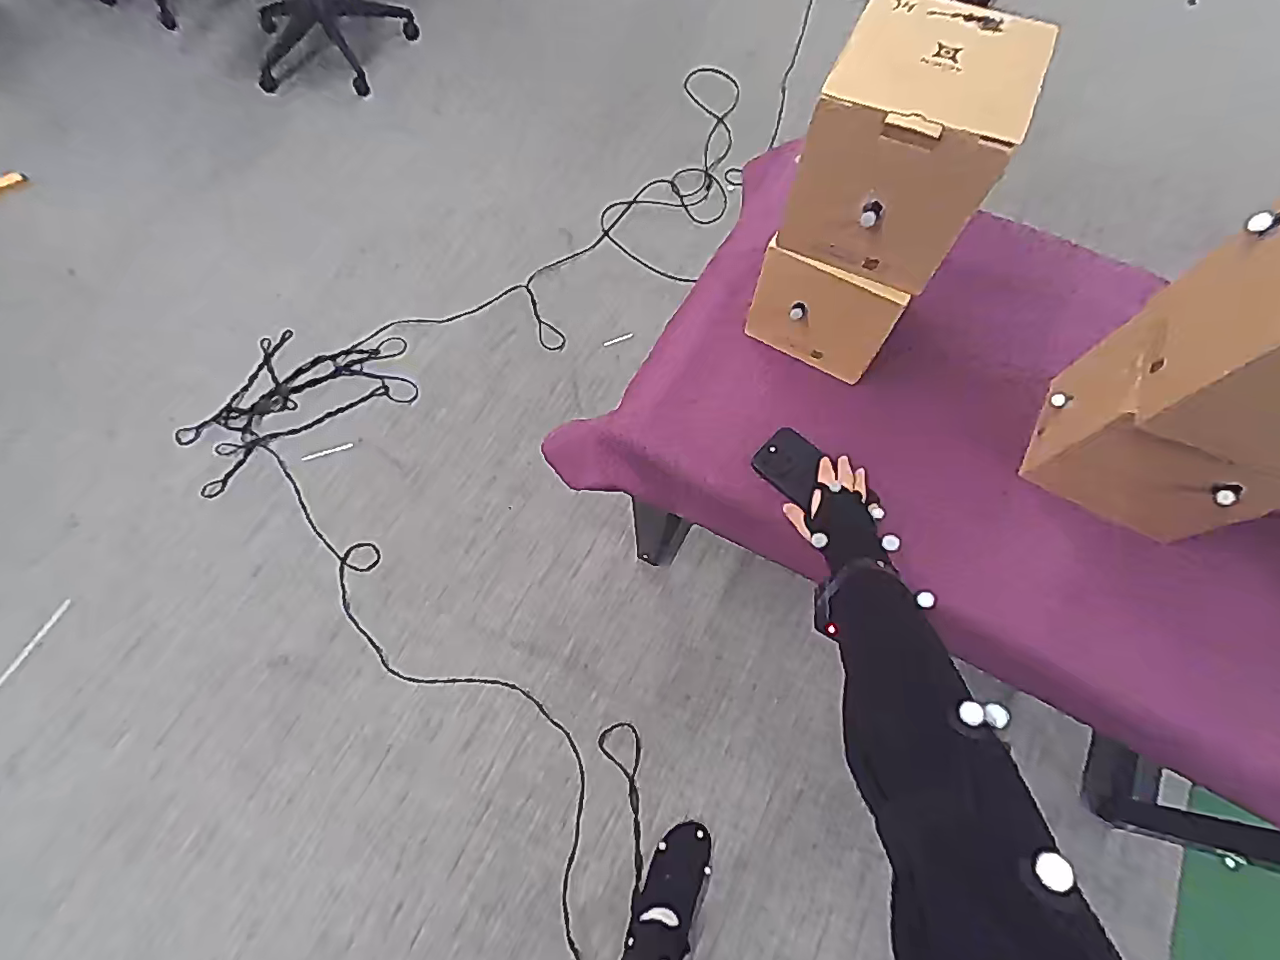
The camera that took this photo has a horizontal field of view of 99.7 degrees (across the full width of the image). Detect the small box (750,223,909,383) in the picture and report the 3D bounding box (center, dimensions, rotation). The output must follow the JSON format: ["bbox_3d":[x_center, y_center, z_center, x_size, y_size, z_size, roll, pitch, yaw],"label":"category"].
[{"bbox_3d":[0.255,-0.256,0.692,0.168,0.176,0.179,30,72,12],"label":"small box"}]

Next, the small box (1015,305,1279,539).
[{"bbox_3d":[0.576,-0.051,0.603,0.179,0.176,0.168,30,72,12],"label":"small box"}]

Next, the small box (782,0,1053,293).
[{"bbox_3d":[0.257,-0.324,0.542,0.168,0.176,0.179,26,71,10],"label":"small box"}]
